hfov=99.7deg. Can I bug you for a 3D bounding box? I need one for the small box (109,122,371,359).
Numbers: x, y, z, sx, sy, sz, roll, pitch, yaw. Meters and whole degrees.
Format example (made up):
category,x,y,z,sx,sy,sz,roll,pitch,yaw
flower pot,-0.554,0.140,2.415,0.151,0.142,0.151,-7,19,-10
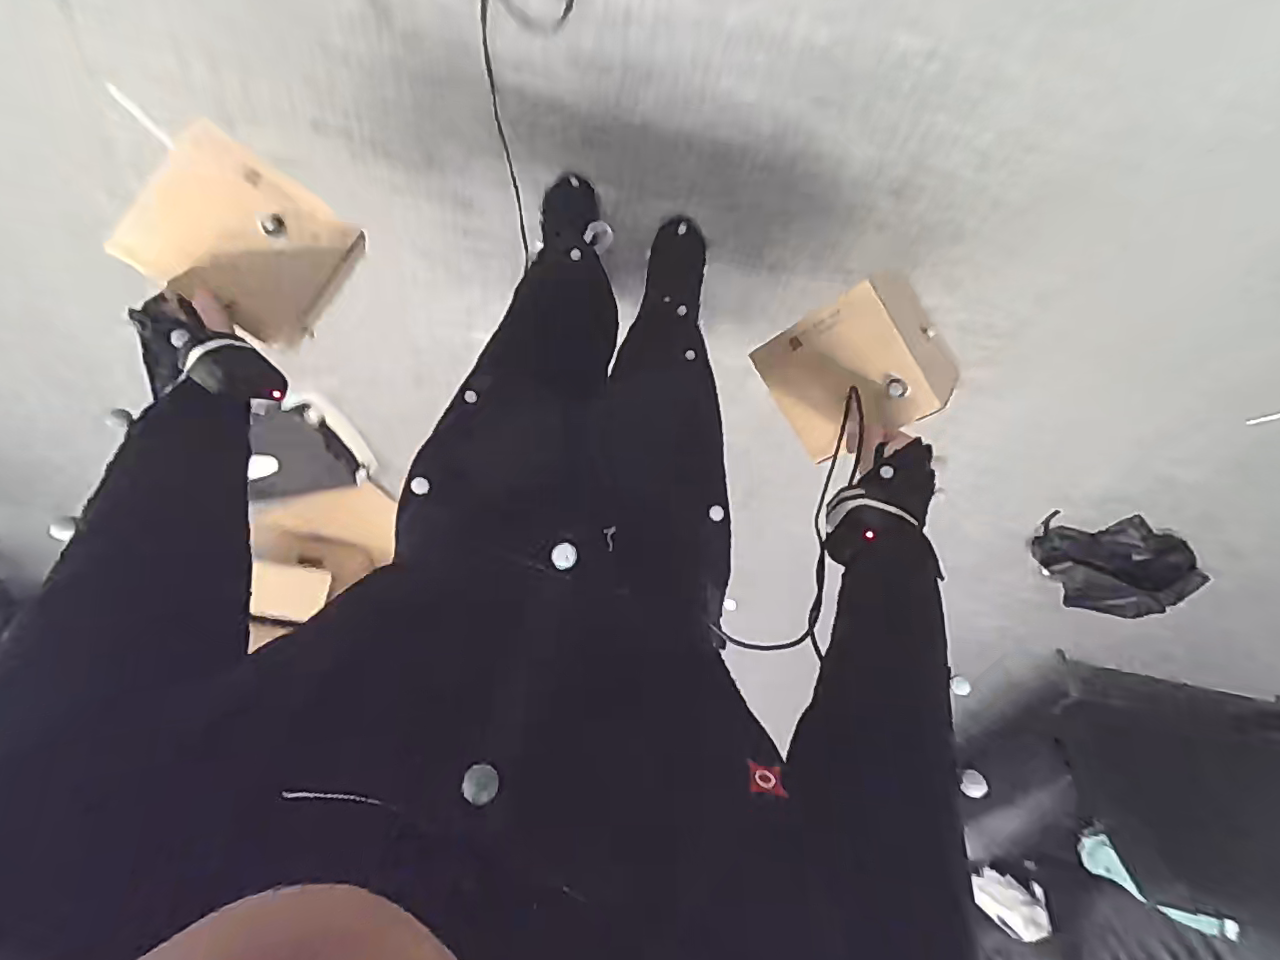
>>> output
category,x,y,z,sx,sy,sz,roll,pitch,yaw
small box,-0.438,-0.261,0.630,0.168,0.176,0.179,36,172,-28
